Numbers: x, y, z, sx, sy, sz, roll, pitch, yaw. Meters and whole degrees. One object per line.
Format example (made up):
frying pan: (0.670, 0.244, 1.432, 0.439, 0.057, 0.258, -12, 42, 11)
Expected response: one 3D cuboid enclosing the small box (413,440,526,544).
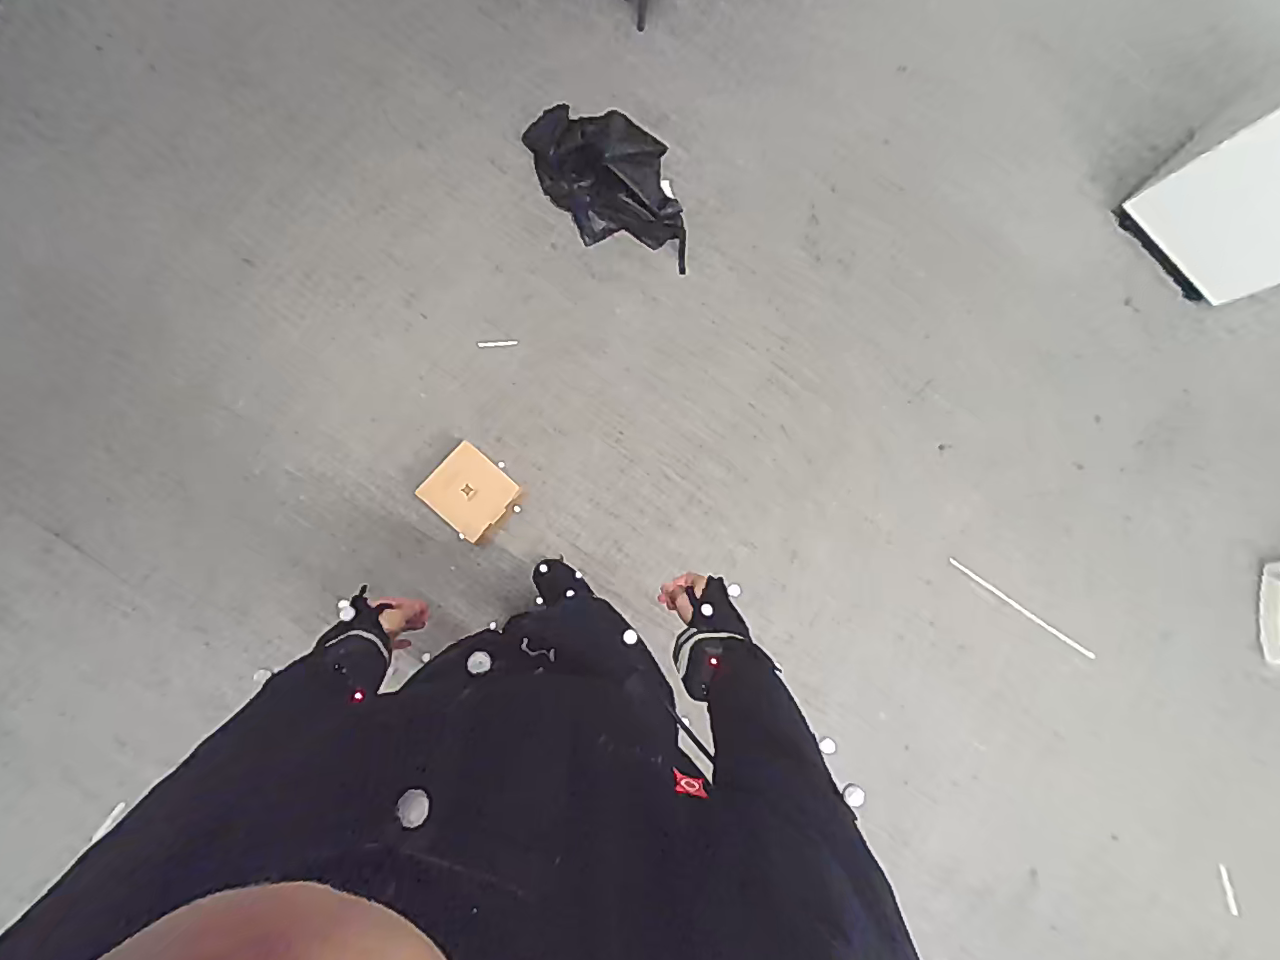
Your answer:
small box: (-0.391, 0.032, 1.277, 0.179, 0.176, 0.168, 41, 81, 0)
